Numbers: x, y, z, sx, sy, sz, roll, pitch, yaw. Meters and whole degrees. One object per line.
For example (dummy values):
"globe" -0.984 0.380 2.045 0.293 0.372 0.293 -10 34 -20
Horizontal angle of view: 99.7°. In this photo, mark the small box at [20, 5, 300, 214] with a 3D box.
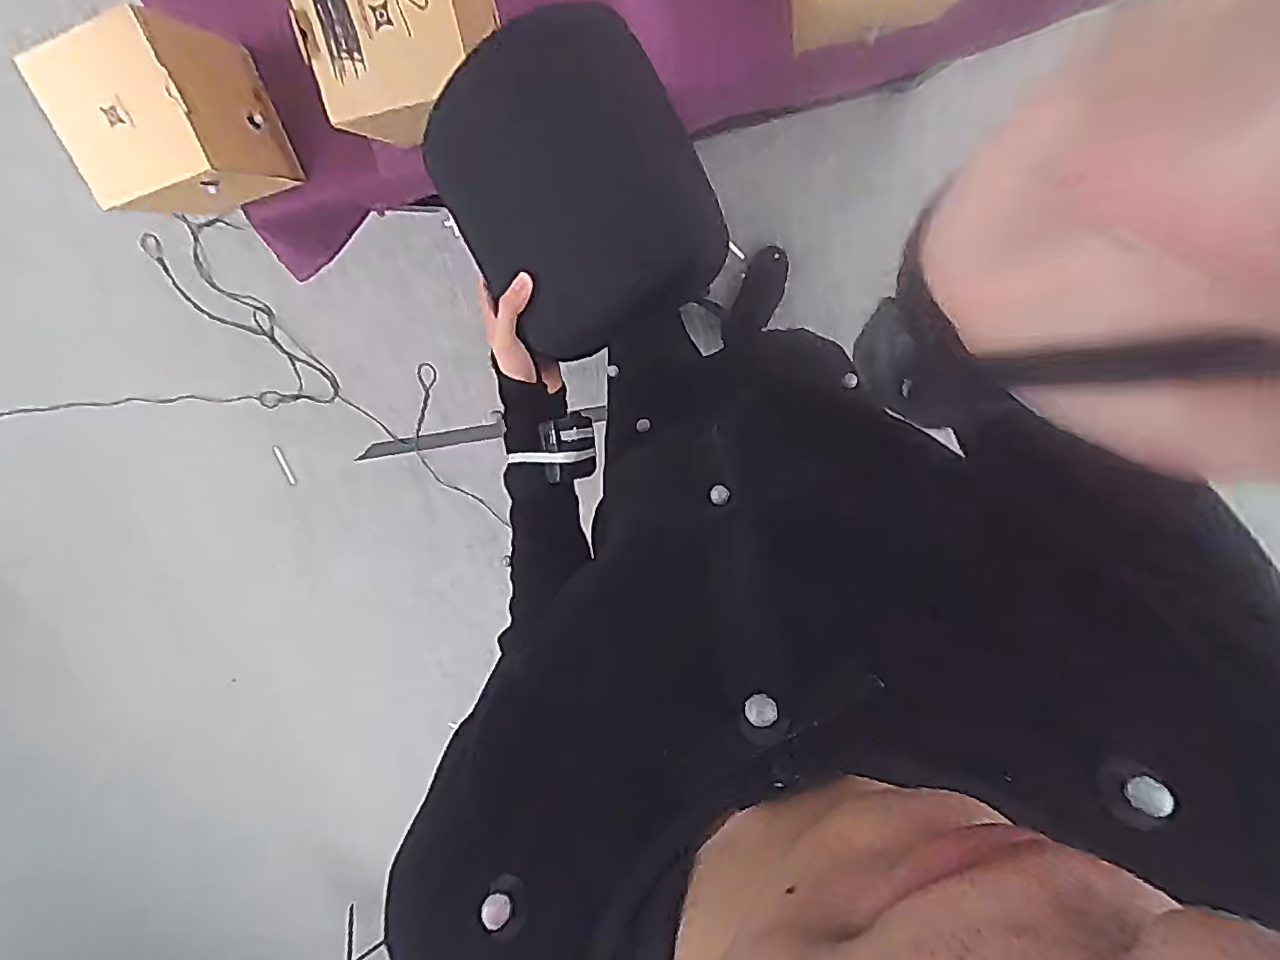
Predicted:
"small box" -0.599 -0.457 0.702 0.179 0.176 0.168 -12 112 11

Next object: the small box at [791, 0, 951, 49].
"small box" 0.242 -0.574 0.537 0.168 0.176 0.179 -6 114 10
